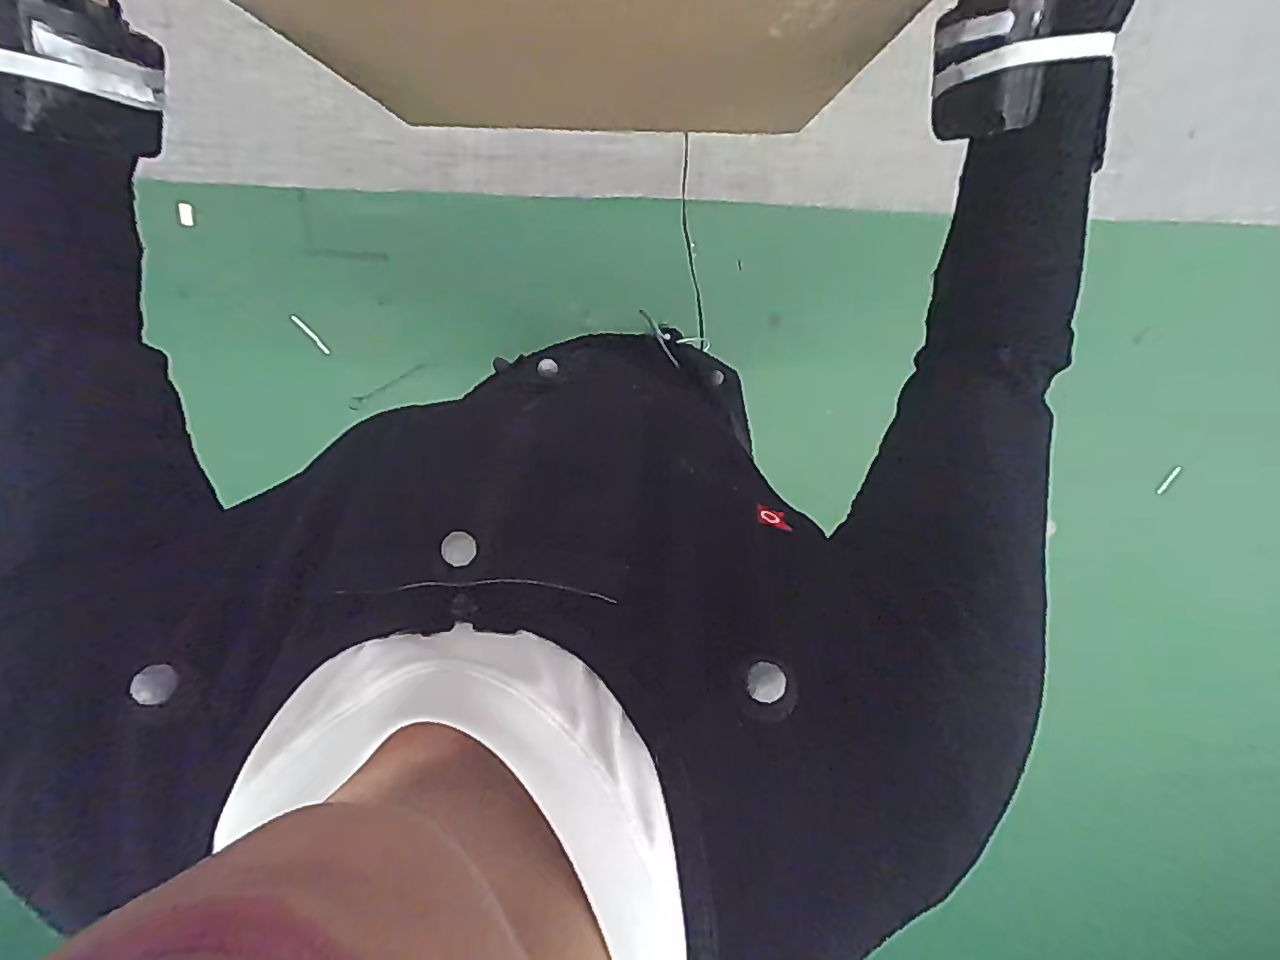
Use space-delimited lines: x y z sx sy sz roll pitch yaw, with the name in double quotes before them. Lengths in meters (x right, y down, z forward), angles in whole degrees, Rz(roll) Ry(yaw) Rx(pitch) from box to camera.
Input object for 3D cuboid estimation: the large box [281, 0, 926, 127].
"large box" -0.024 -0.459 0.365 0.408 0.320 0.320 0 110 -1
